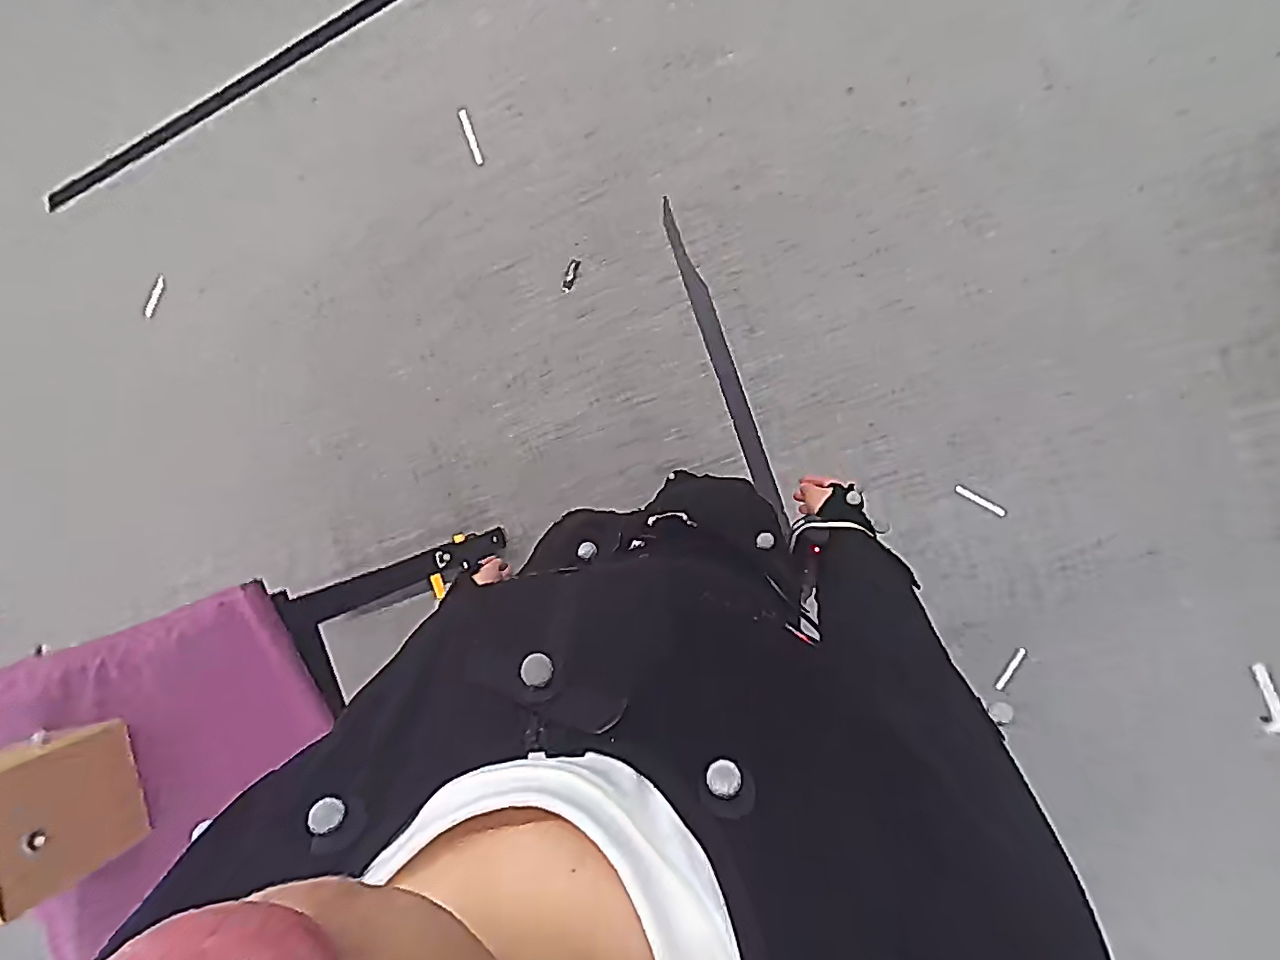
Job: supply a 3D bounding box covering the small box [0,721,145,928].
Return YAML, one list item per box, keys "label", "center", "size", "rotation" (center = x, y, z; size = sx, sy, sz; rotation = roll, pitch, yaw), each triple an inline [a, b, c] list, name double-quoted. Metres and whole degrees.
- label: "small box"
  center: [-0.824, 0.457, 0.727]
  size: [0.168, 0.176, 0.179]
  rotation: [-14, 89, 9]
